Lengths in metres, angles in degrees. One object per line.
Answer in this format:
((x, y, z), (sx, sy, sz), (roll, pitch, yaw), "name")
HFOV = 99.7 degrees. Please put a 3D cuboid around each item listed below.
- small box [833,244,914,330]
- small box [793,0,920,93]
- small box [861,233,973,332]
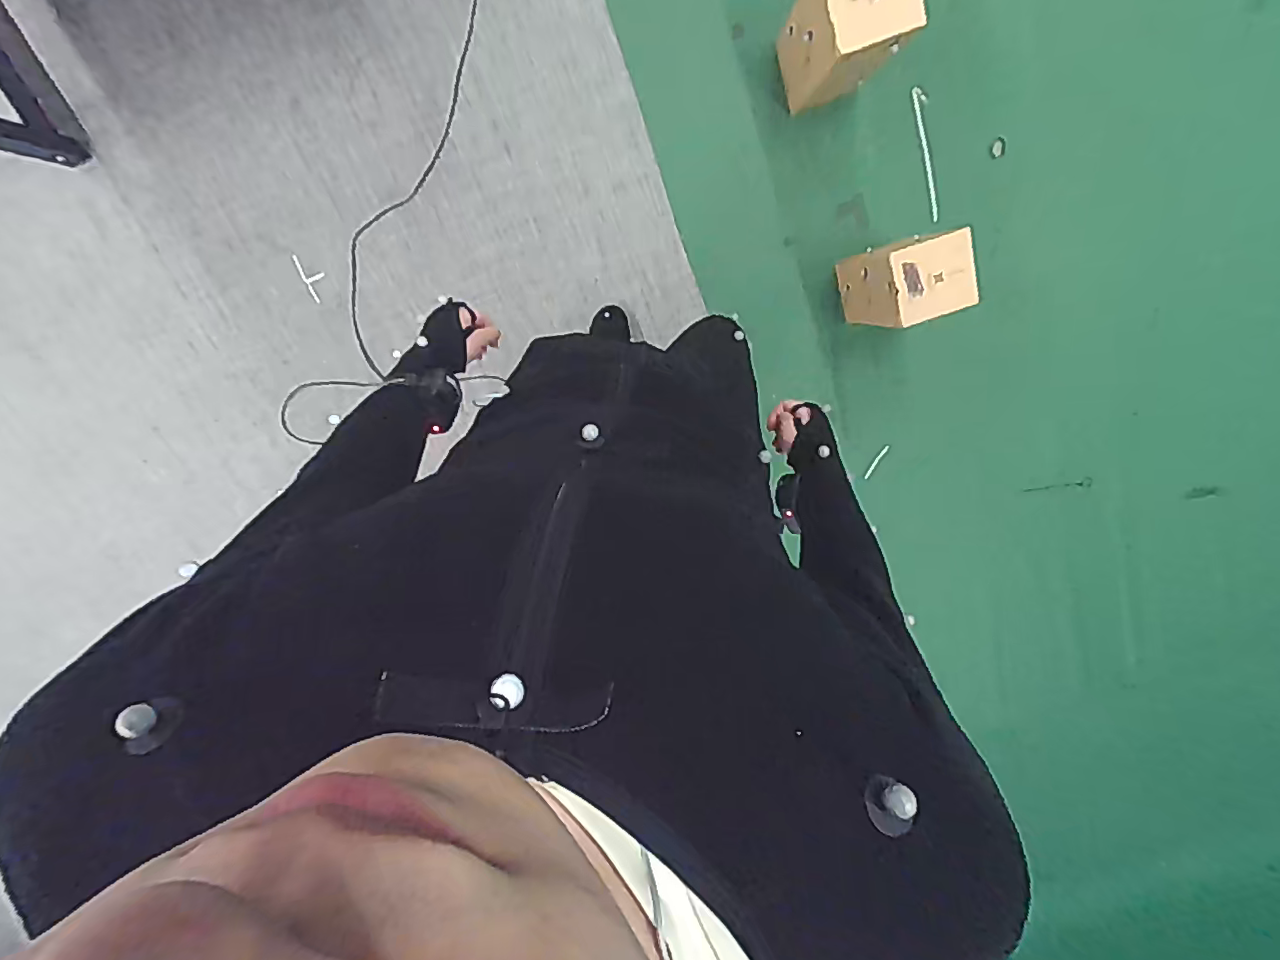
((0.629, -0.504, 1.410), (0.179, 0.176, 0.168), (-19, 108, 6), "small box")
((0.432, -0.930, 1.096), (0.179, 0.176, 0.168), (-17, 106, 4), "small box")
((0.632, -0.452, 1.255), (0.179, 0.176, 0.168), (-17, 108, 5), "small box")
